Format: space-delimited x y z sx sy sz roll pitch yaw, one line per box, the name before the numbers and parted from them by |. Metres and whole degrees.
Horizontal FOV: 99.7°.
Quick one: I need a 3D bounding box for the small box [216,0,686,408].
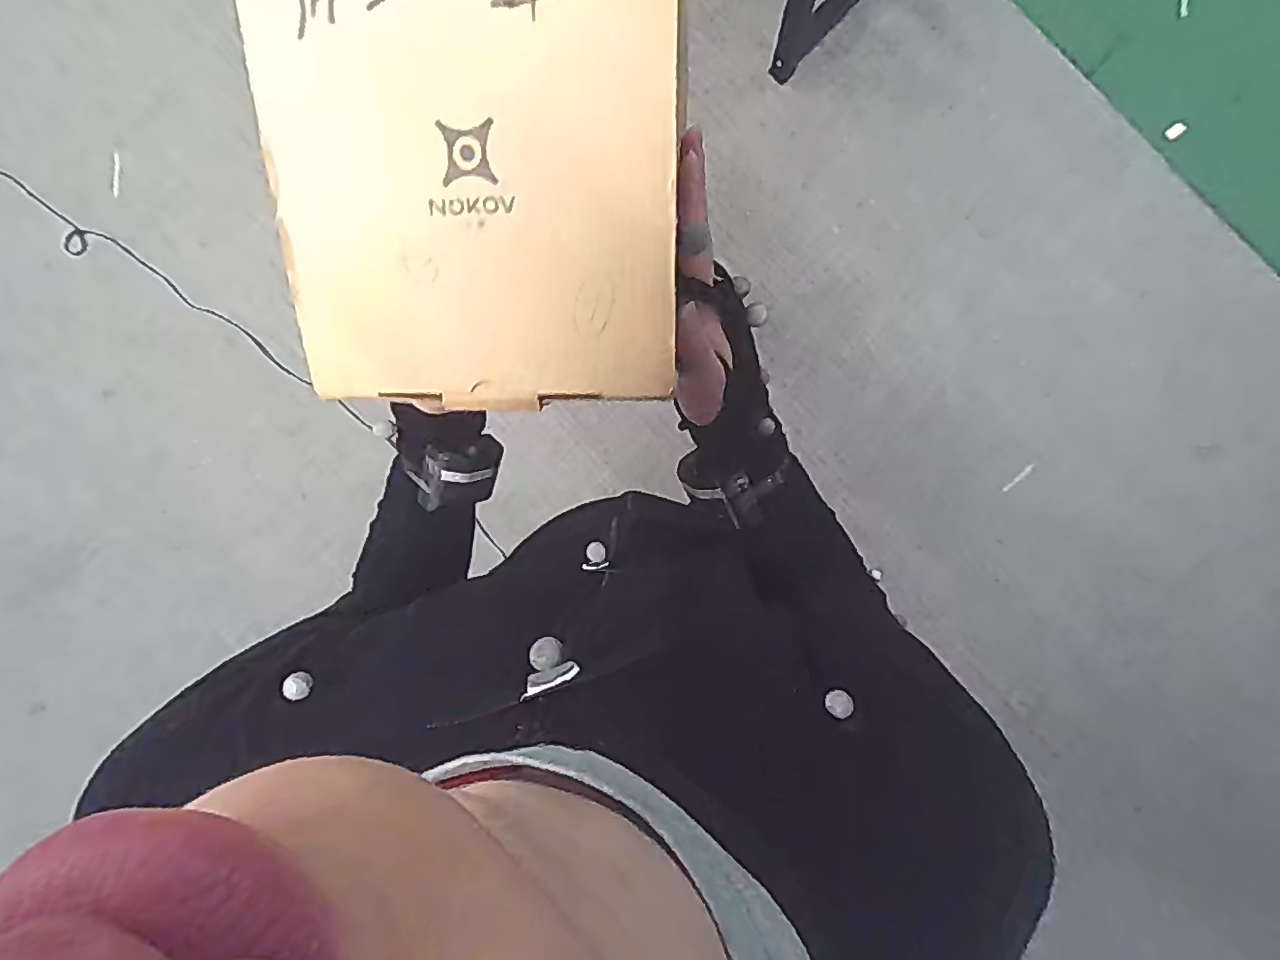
small box | -0.061 -0.140 0.279 0.168 0.176 0.179 0 109 4
